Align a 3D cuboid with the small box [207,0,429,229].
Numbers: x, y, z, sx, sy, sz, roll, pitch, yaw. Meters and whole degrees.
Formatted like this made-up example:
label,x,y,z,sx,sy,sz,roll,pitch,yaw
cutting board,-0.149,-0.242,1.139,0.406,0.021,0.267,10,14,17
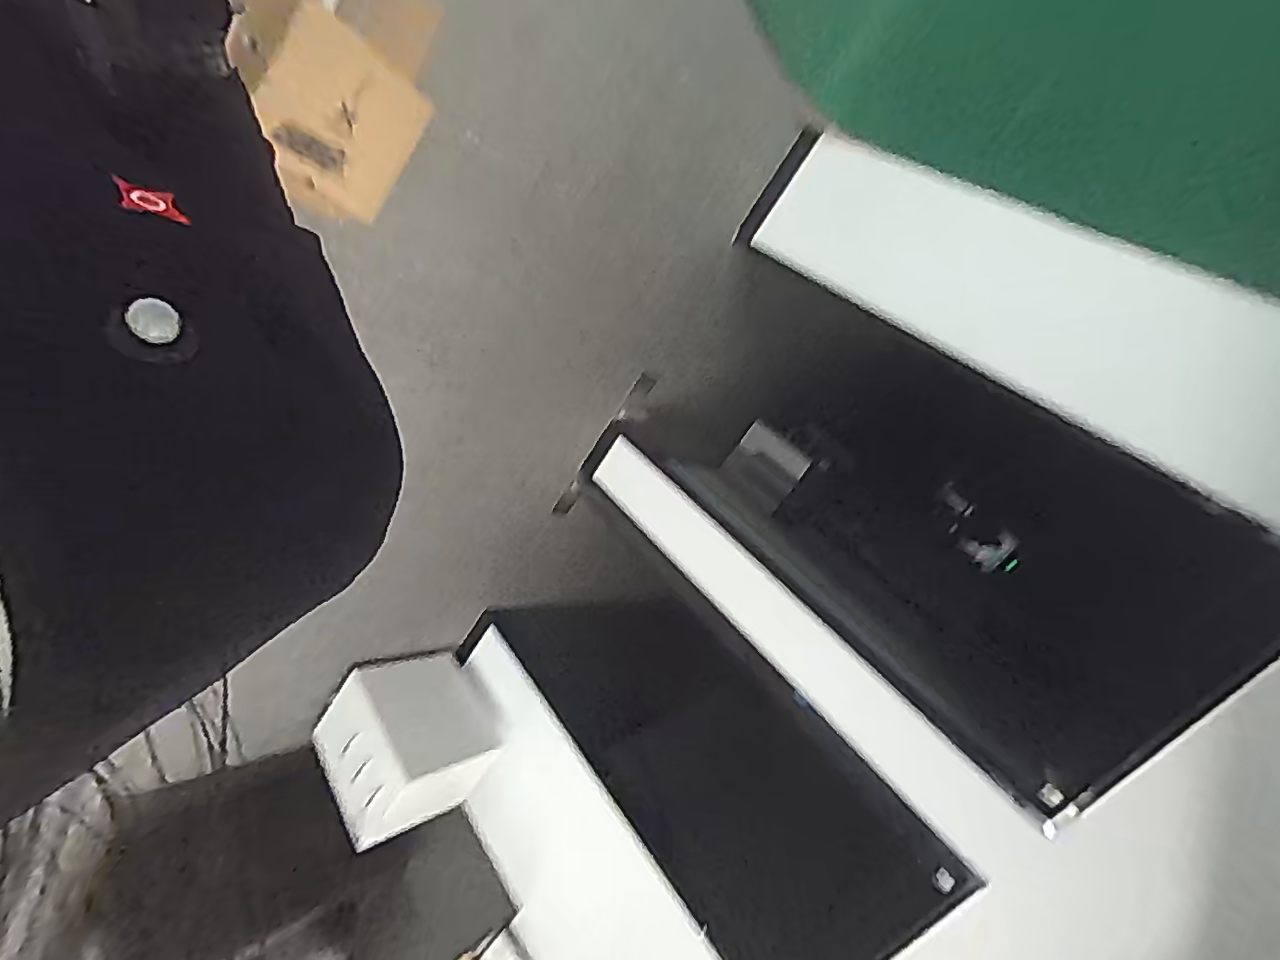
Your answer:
label,x,y,z,sx,sy,sz,roll,pitch,yaw
small box,-0.414,-0.469,0.690,0.179,0.176,0.168,-53,150,9
